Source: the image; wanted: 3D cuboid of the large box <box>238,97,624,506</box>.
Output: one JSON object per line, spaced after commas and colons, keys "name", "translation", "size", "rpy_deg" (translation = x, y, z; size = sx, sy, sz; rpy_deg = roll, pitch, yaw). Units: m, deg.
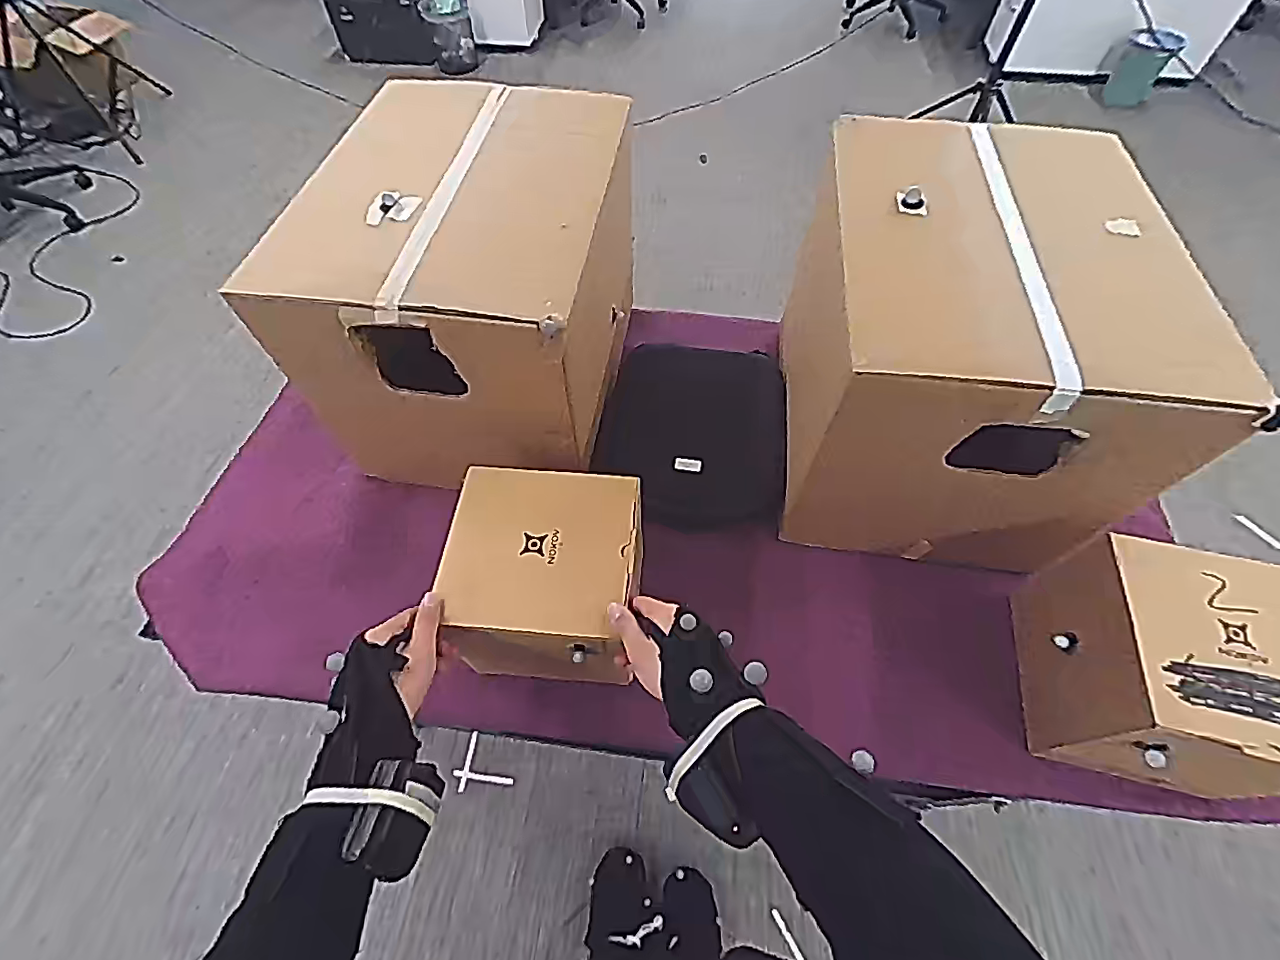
{"name": "large box", "translation": [-0.195, -0.223, 0.707], "size": [0.320, 0.320, 0.408], "rpy_deg": [6, 60, 4]}
